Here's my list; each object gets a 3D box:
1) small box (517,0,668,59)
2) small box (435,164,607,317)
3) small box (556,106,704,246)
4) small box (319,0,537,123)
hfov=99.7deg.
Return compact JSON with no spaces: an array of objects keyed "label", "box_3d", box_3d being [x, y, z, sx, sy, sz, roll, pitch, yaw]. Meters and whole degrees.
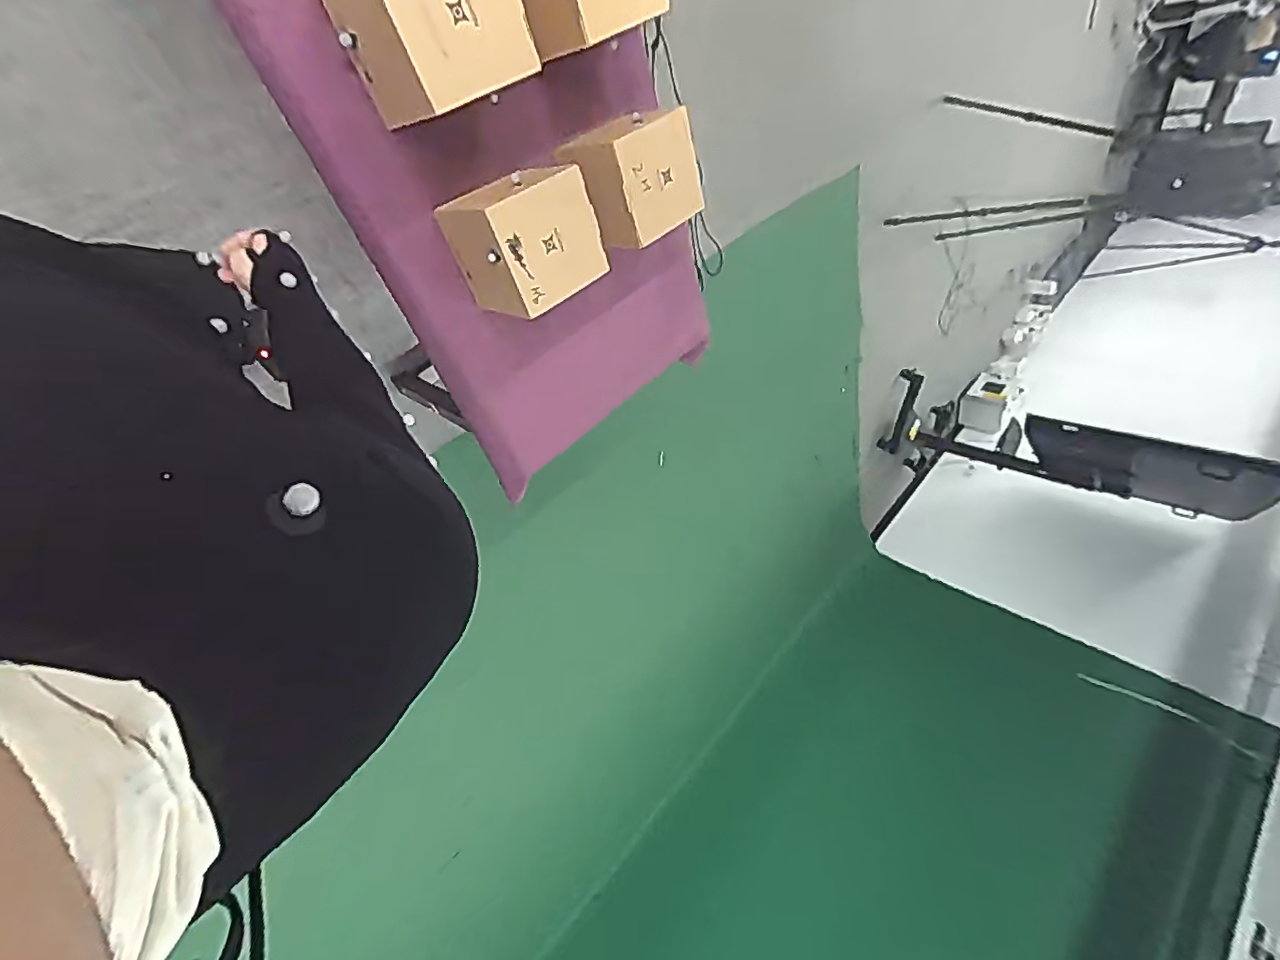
[{"label":"small box","box_3d":[-0.091,-0.744,0.783,0.179,0.176,0.168,-41,134,-21]},{"label":"small box","box_3d":[-0.188,-0.384,0.863,0.179,0.176,0.168,-41,133,-24]},{"label":"small box","box_3d":[-0.017,-0.536,0.958,0.179,0.176,0.168,-40,133,-23]},{"label":"small box","box_3d":[-0.269,-0.581,0.686,0.179,0.176,0.168,-41,133,-22]}]
